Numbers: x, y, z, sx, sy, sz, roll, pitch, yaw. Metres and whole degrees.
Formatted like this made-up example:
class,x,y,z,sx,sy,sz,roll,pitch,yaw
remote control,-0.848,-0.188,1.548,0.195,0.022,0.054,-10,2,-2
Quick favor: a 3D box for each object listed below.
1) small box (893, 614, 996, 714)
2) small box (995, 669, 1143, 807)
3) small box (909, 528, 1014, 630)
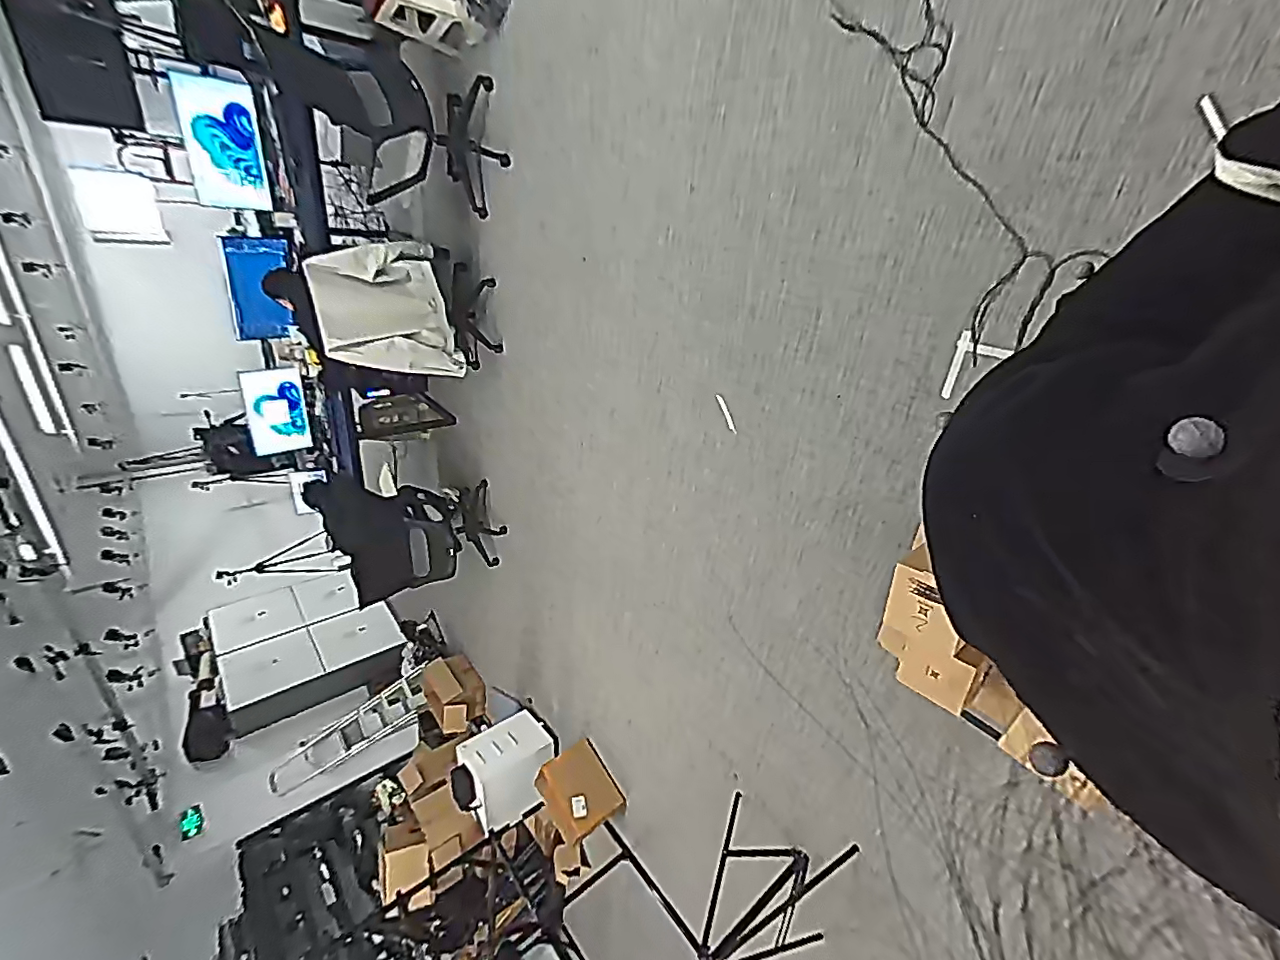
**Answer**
class,x,y,z,sx,sy,sz,roll,pitch,yaw
small box,0.831,0.491,1.477,0.179,0.176,0.168,27,124,43
small box,0.899,0.527,1.136,0.179,0.176,0.168,35,129,37
small box,0.828,0.245,1.388,0.168,0.176,0.179,27,123,43
